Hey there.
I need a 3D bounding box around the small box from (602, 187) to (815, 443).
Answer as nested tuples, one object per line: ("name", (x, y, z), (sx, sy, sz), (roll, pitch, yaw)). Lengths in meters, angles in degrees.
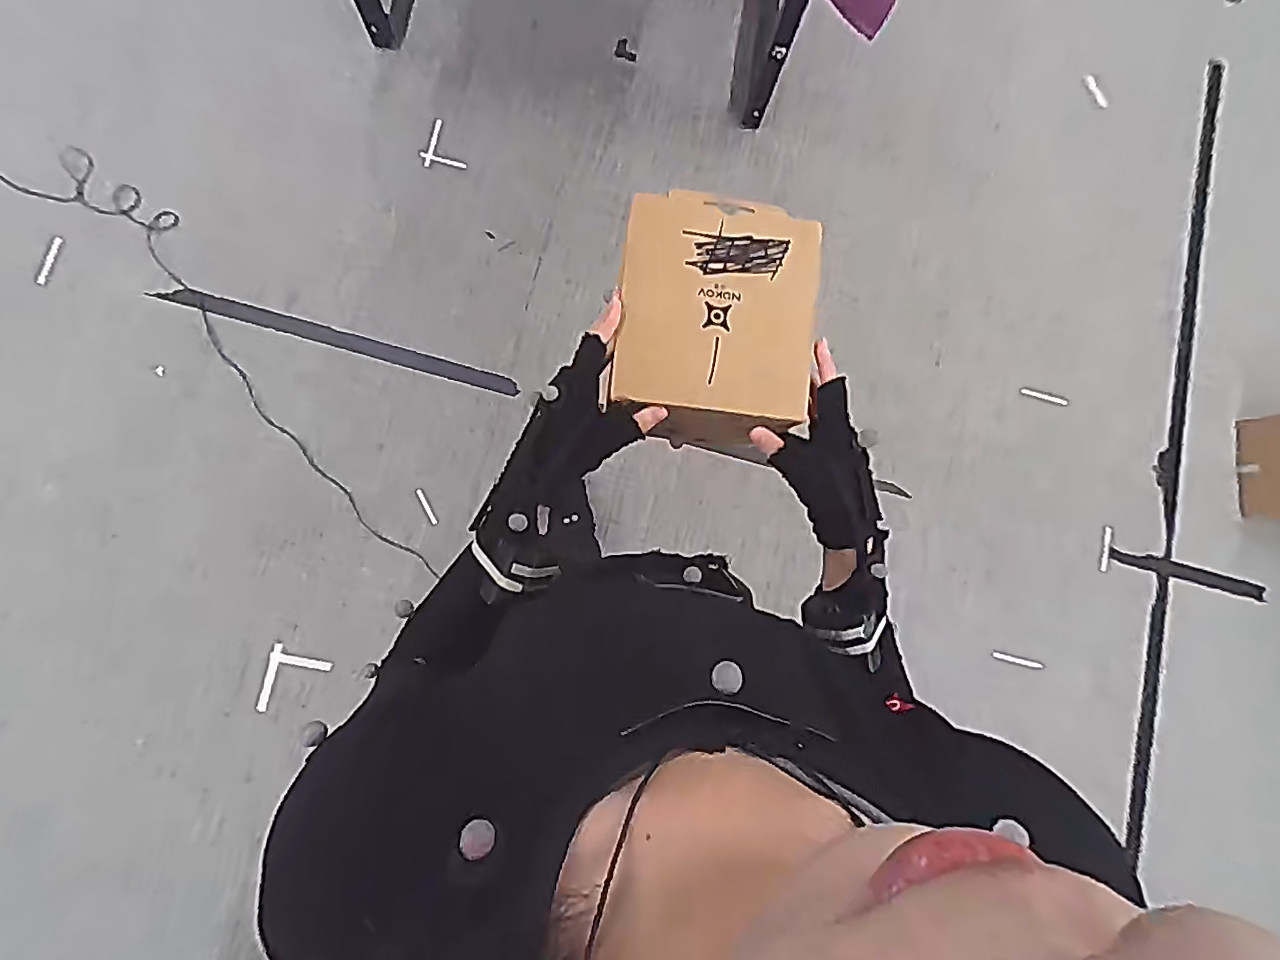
("small box", (0.054, -0.142, 0.525), (0.168, 0.176, 0.179), (6, 85, -5))
